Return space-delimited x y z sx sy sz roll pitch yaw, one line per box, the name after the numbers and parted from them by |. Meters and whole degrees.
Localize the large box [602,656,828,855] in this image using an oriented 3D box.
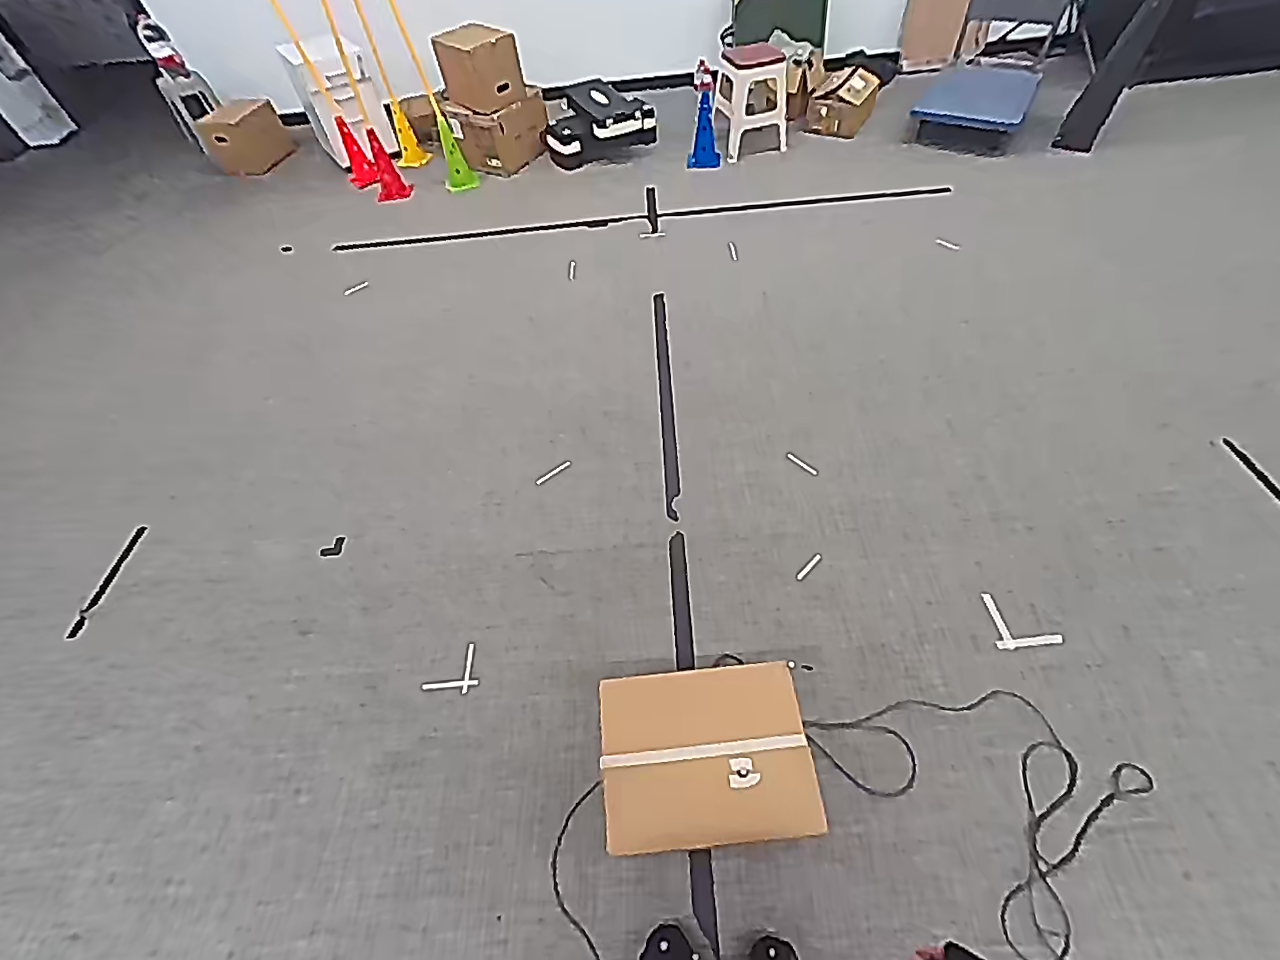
0.138 0.607 1.178 0.408 0.320 0.320 -6 55 0 | large box
